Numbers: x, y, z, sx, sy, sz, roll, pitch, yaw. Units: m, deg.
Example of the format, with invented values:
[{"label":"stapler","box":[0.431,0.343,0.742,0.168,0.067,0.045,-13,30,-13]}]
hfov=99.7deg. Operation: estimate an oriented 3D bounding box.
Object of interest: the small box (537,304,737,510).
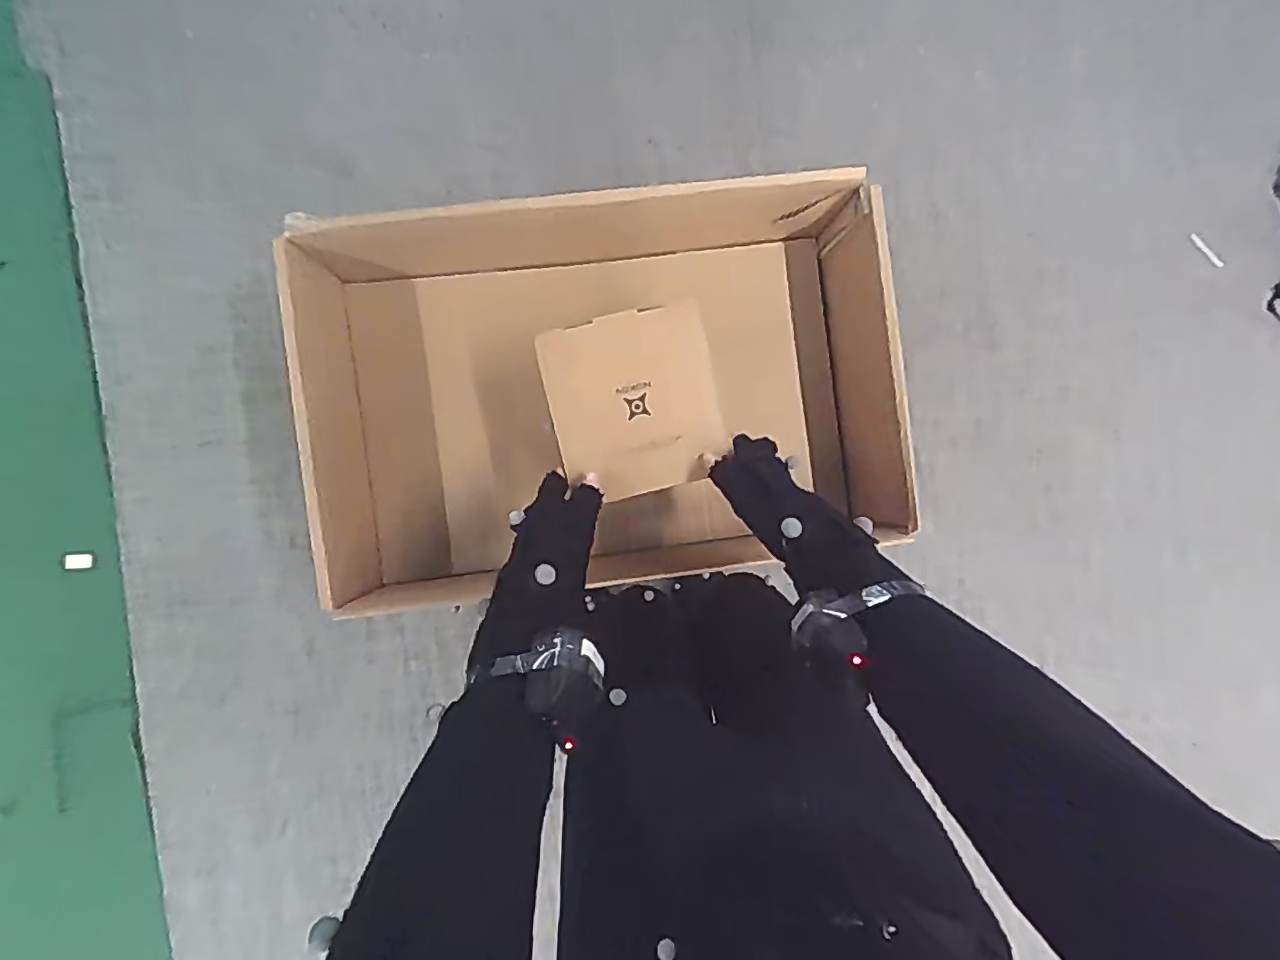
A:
[{"label":"small box","box":[-0.007,-0.070,0.607,0.168,0.176,0.179,-15,90,-2]}]
